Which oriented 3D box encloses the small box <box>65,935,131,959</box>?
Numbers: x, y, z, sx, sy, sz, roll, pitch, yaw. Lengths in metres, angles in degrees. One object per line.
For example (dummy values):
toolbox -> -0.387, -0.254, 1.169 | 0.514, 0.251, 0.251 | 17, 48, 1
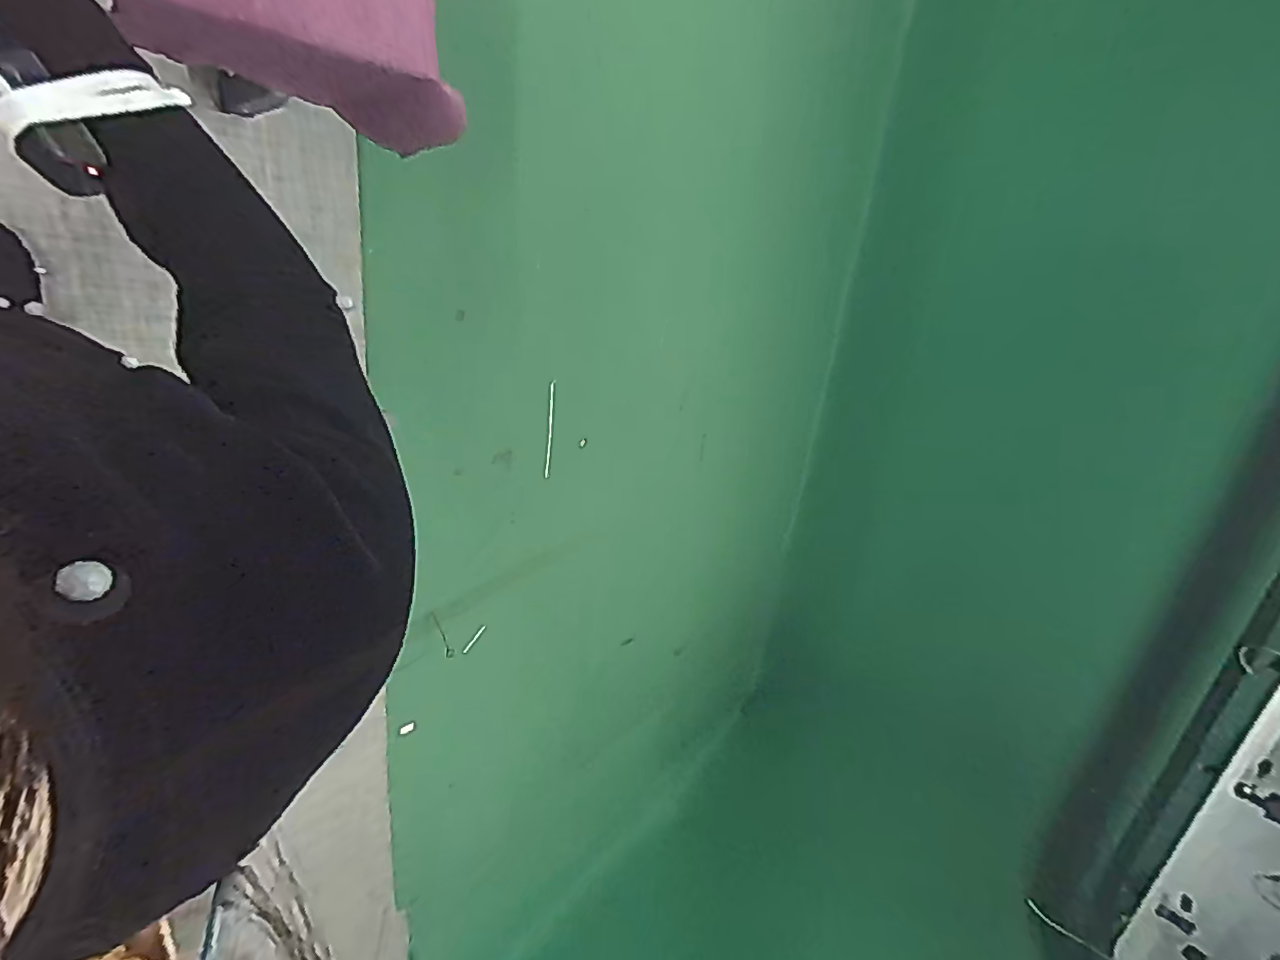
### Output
small box -> -1.344, 1.269, 1.314 | 0.168, 0.176, 0.179 | -10, 116, -48
